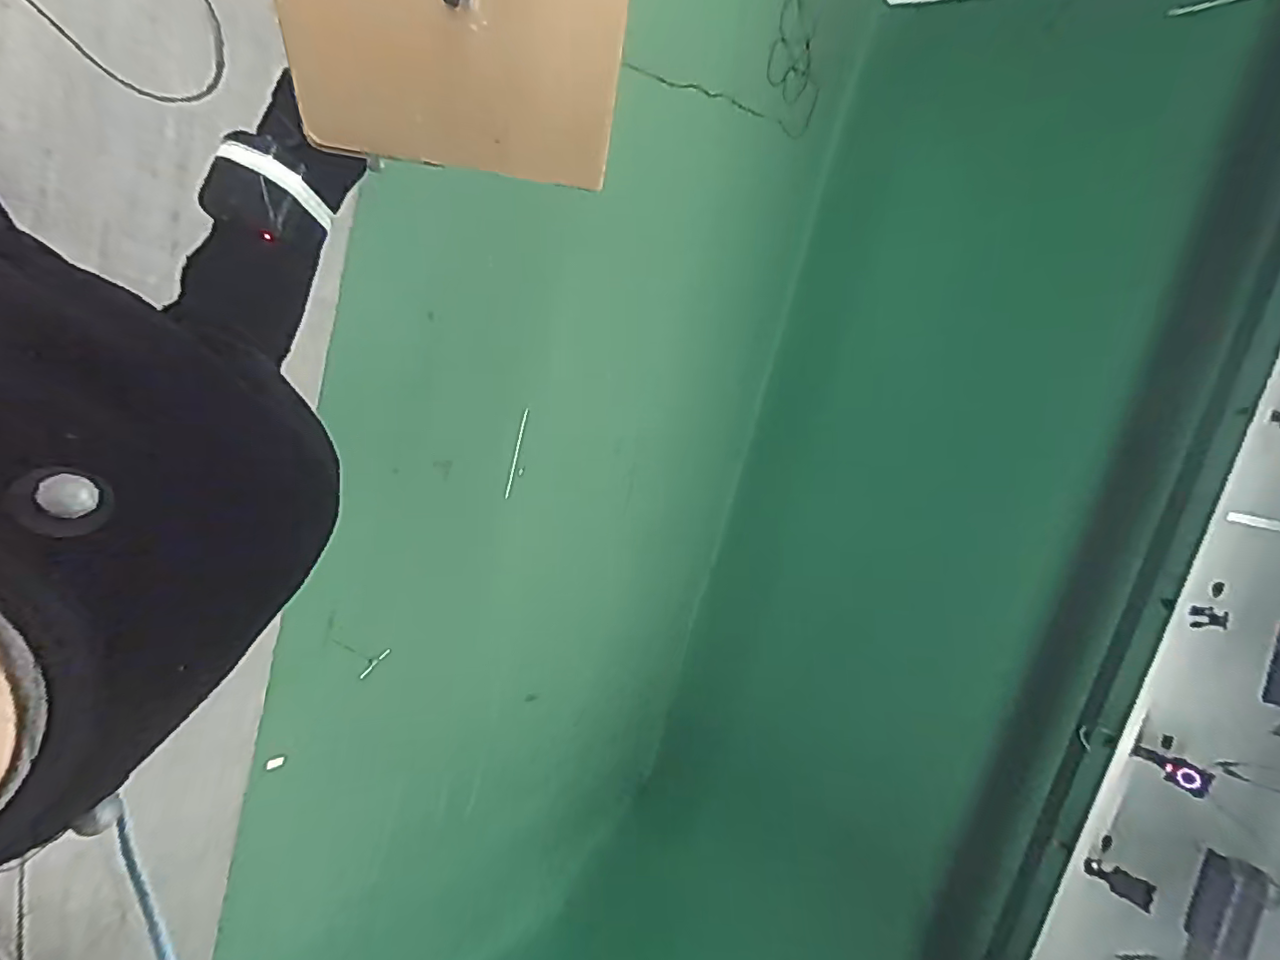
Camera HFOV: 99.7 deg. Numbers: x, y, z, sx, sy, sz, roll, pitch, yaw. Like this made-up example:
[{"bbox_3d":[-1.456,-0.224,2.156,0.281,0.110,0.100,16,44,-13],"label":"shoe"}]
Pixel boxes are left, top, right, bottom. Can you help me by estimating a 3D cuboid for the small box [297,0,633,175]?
[{"bbox_3d":[-0.092,-0.303,0.303,0.176,0.168,0.179,106,-19,-48],"label":"small box"}]
